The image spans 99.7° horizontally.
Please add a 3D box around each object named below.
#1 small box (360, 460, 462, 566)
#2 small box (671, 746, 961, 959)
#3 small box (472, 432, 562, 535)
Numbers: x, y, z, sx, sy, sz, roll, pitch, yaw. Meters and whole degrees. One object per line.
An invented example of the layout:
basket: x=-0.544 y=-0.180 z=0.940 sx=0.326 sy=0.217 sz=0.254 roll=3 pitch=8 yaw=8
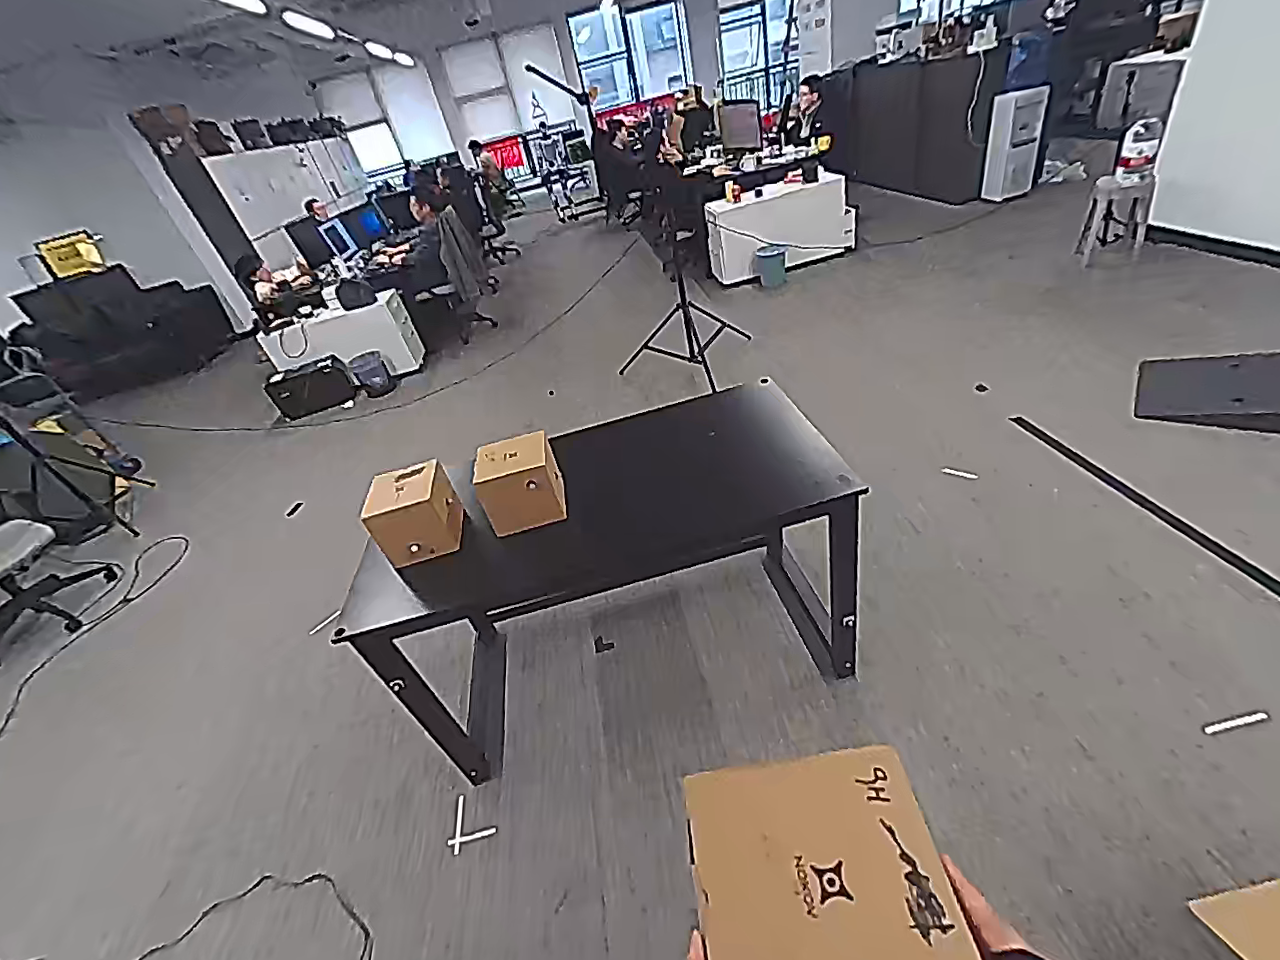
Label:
small box: x=-0.554 y=0.082 z=1.335 sx=0.168 sy=0.176 sz=0.179 roll=-17 pitch=37 yaw=-2
small box: x=0.131 y=0.345 z=0.443 sx=0.179 sy=0.176 sz=0.168 roll=-11 pitch=44 yaw=3
small box: x=-0.297 y=0.009 z=1.339 sx=0.179 sy=0.176 sz=0.168 roll=-15 pitch=35 yaw=-1
